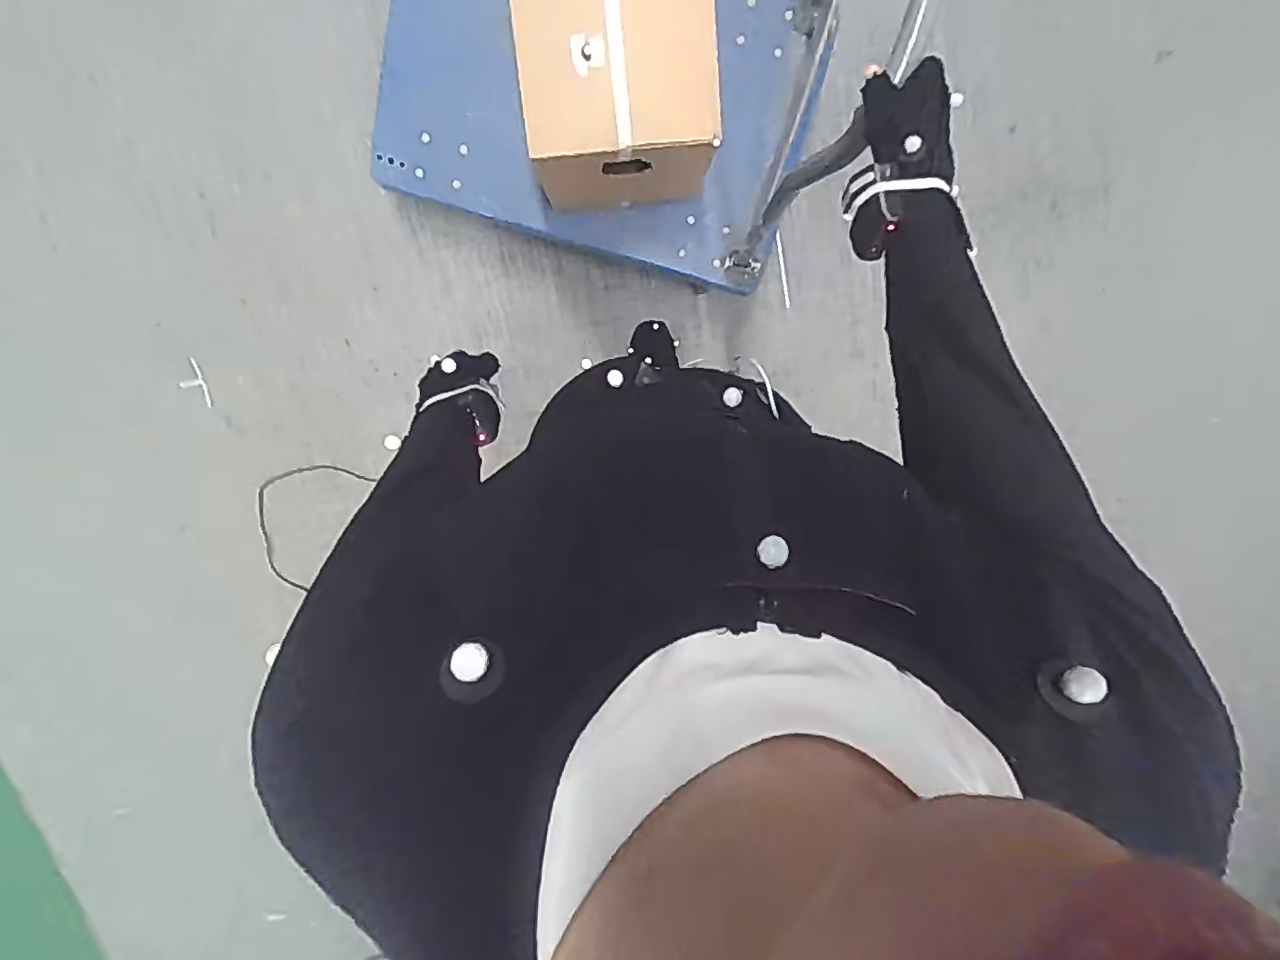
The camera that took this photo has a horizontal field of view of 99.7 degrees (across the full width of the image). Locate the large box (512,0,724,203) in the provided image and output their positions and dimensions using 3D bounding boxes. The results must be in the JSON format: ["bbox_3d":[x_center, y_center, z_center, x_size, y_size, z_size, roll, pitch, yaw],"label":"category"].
[{"bbox_3d":[-0.042,-0.761,0.963,0.320,0.320,0.408,-6,104,1],"label":"large box"}]
